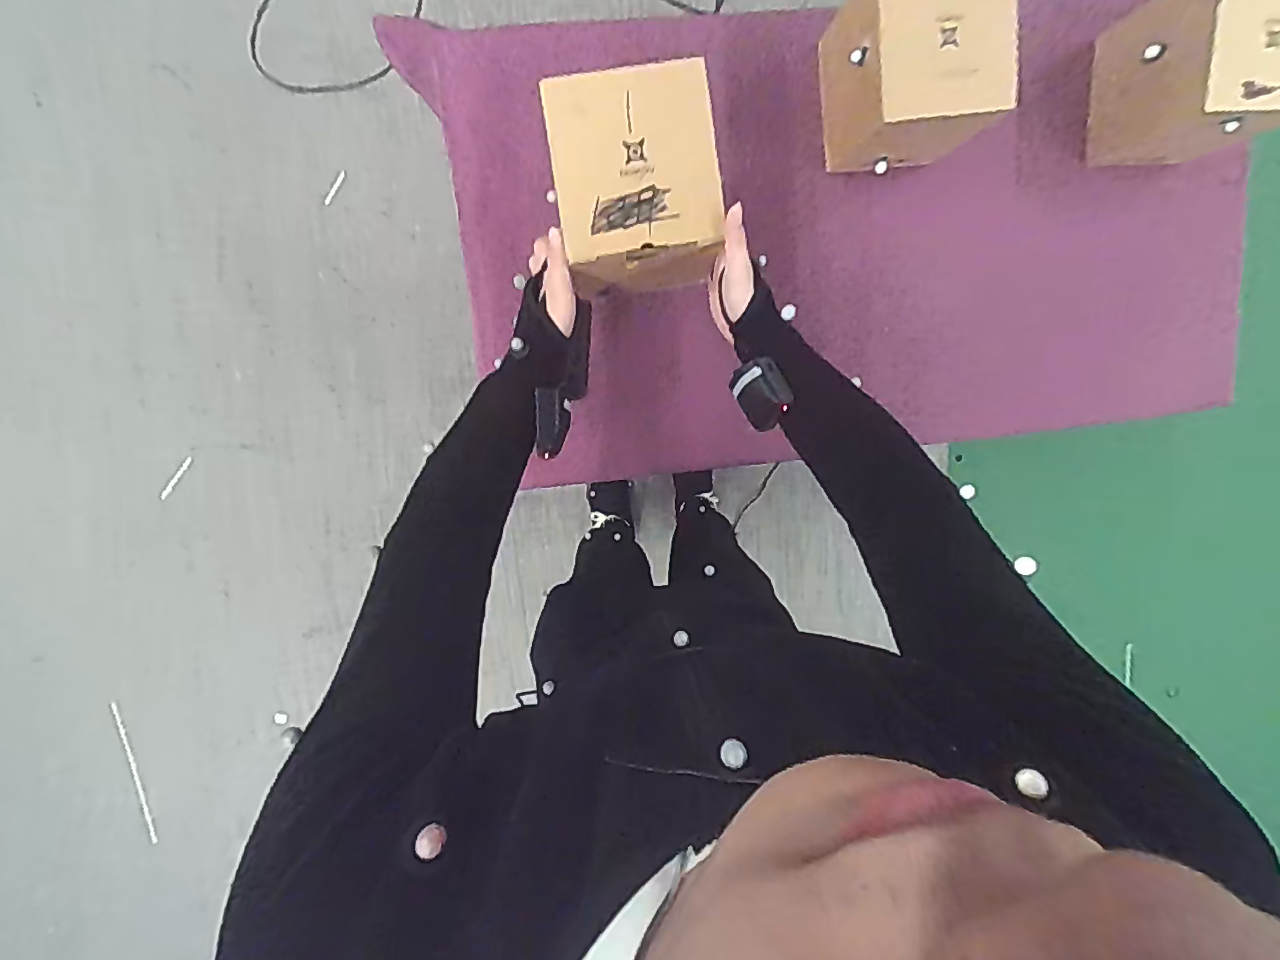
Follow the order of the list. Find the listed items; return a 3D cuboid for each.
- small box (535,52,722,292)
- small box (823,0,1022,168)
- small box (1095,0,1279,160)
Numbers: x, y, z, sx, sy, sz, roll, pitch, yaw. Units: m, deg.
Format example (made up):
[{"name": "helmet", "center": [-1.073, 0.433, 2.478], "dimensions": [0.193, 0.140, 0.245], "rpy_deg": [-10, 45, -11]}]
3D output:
[{"name": "small box", "center": [-0.010, -0.320, 0.603], "dimensions": [0.168, 0.176, 0.179], "rpy_deg": [-8, 95, -1]}, {"name": "small box", "center": [0.345, -0.529, 0.687], "dimensions": [0.168, 0.176, 0.179], "rpy_deg": [-7, 101, -3]}, {"name": "small box", "center": [0.755, -0.554, 0.716], "dimensions": [0.168, 0.176, 0.179], "rpy_deg": [-4, 99, -3]}]
